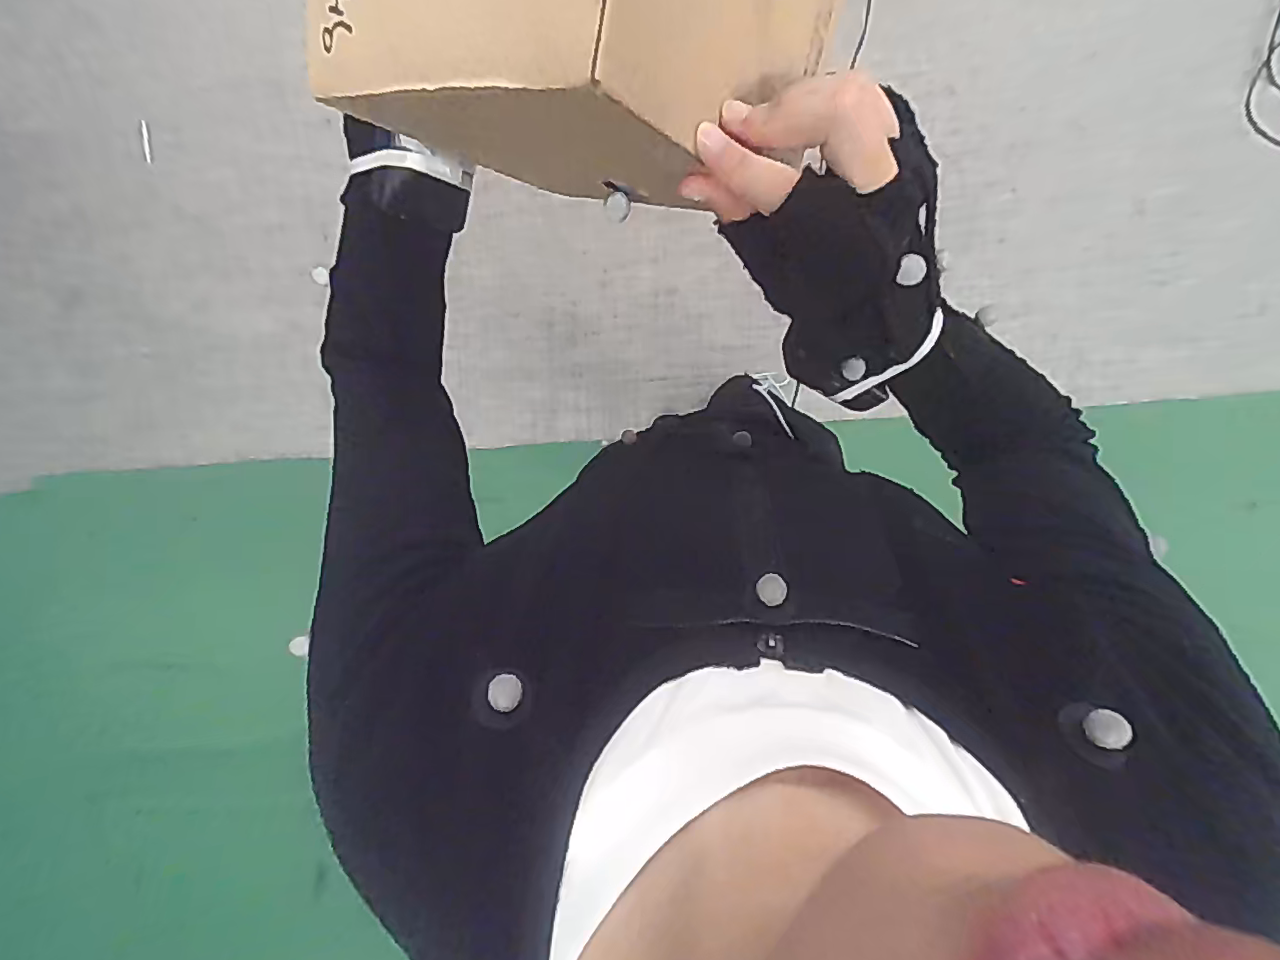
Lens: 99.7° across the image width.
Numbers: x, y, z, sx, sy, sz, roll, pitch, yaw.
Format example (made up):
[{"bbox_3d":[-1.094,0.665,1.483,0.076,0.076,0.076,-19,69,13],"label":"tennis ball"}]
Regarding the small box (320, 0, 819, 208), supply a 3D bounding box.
[{"bbox_3d":[-0.021,-0.240,0.255,0.179,0.176,0.168,23,111,29],"label":"small box"}]
